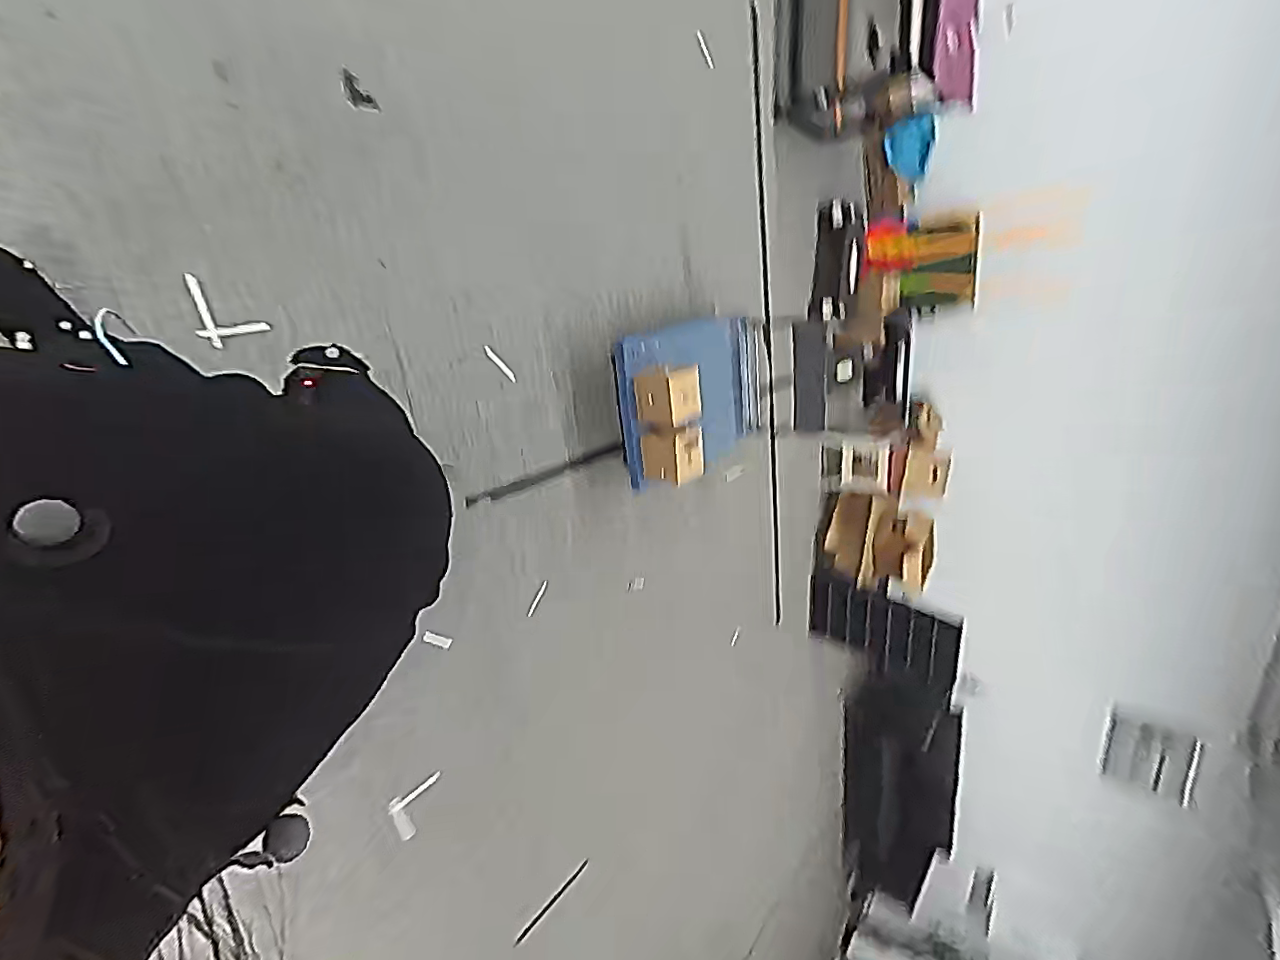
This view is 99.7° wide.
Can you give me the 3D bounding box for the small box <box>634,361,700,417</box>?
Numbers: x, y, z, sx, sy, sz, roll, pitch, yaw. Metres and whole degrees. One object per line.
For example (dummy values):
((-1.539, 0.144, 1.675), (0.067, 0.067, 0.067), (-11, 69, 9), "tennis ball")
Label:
((0.093, -0.331, 1.963), (0.179, 0.176, 0.168), (-29, 119, -43), "small box")
